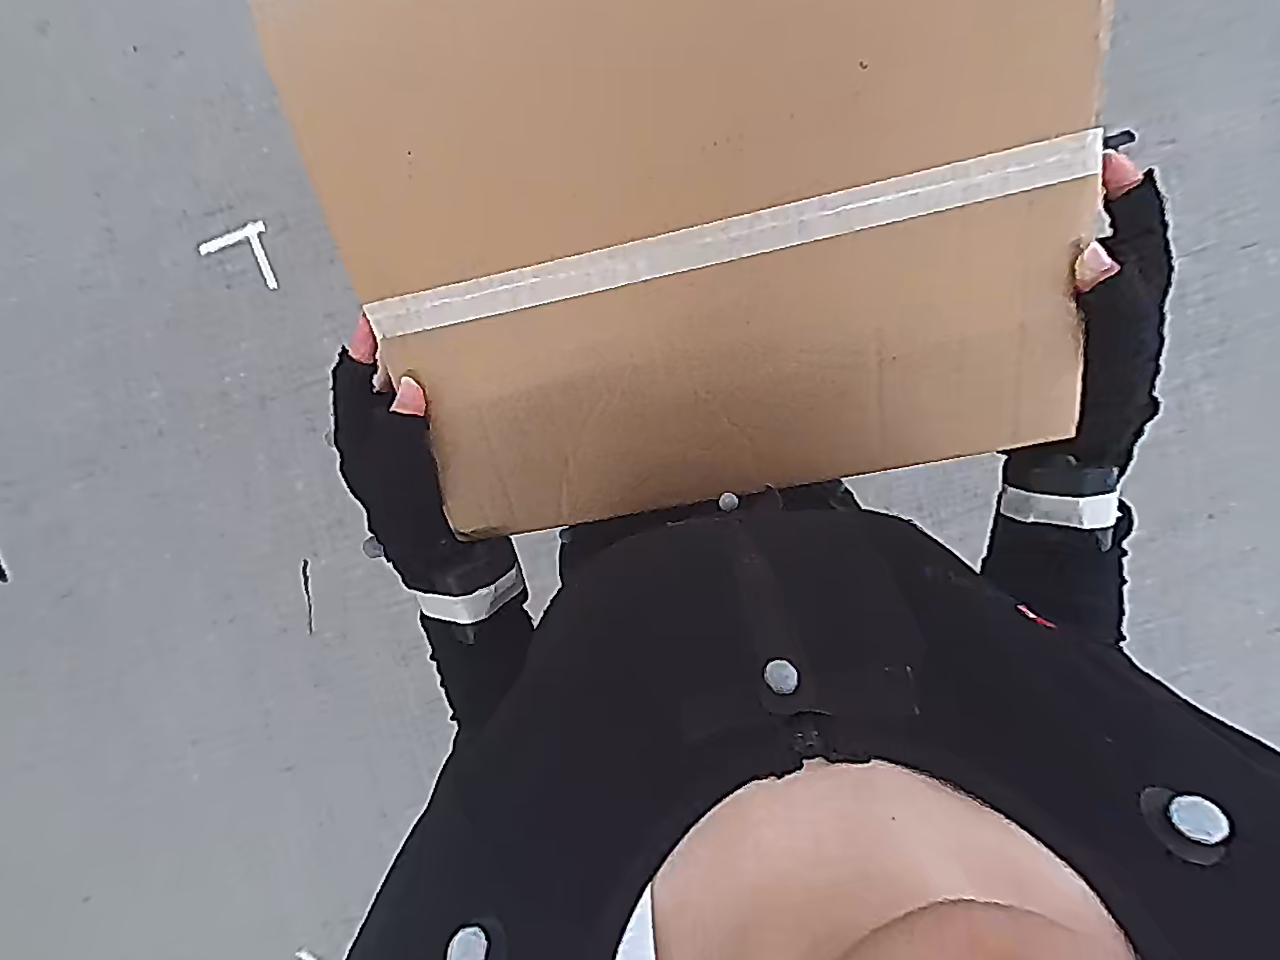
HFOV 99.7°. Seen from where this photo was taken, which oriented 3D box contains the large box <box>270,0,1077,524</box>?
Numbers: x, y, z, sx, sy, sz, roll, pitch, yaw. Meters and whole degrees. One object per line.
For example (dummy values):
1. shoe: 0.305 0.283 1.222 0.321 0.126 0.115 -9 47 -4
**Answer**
1. large box: 0.038 -0.200 0.447 0.408 0.320 0.320 -10 112 7
